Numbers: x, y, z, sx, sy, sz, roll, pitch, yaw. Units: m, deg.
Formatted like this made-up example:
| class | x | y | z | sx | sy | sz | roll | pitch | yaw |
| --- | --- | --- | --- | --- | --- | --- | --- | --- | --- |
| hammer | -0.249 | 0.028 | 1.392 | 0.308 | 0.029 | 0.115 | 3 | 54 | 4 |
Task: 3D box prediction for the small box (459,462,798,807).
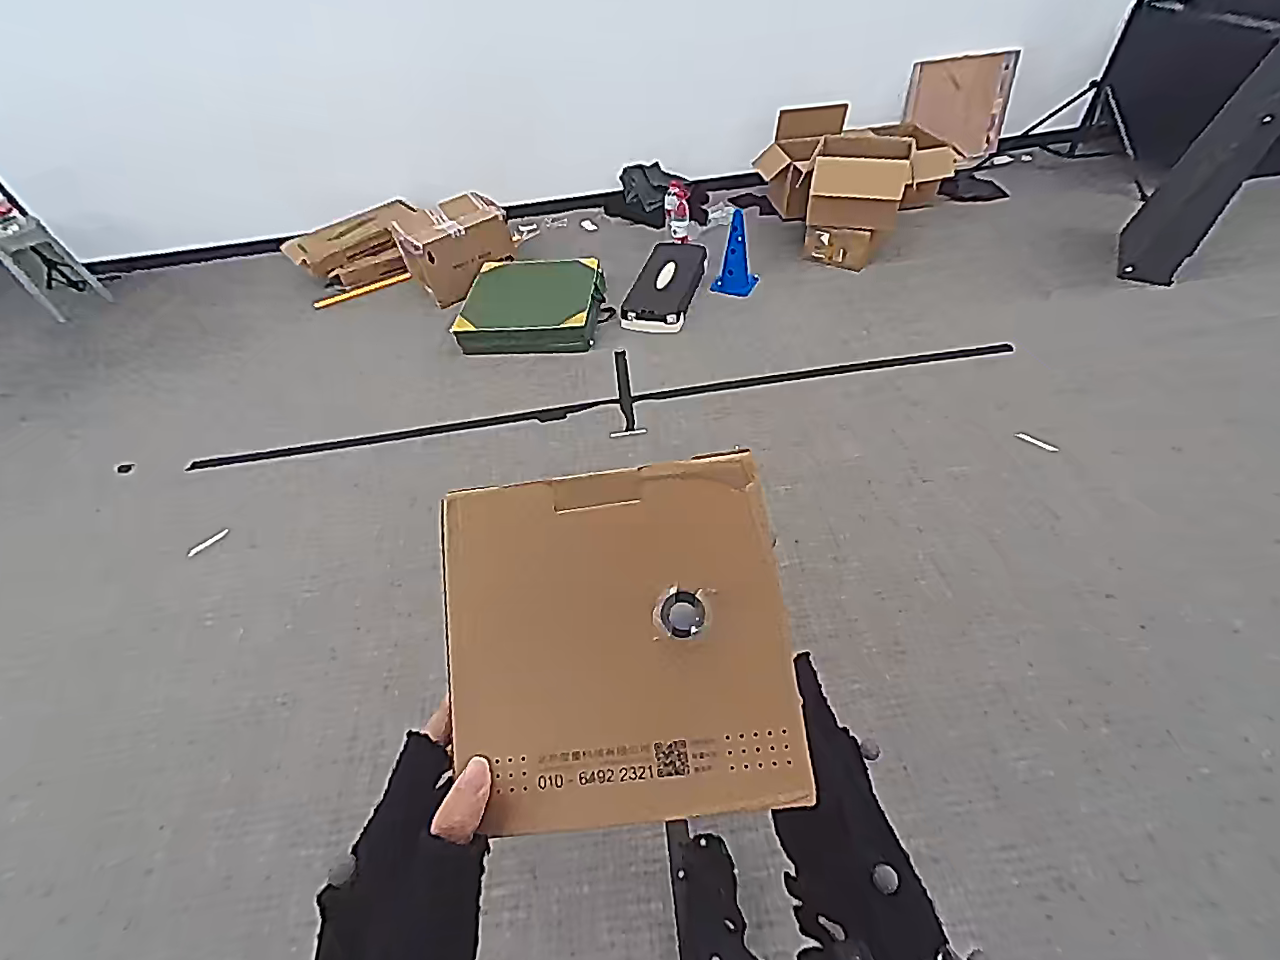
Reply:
| class | x | y | z | sx | sy | sz | roll | pitch | yaw |
| --- | --- | --- | --- | --- | --- | --- | --- | --- | --- |
| small box | -0.001 | 0.099 | 0.360 | 0.168 | 0.179 | 0.176 | -8 | 77 | 6 |
